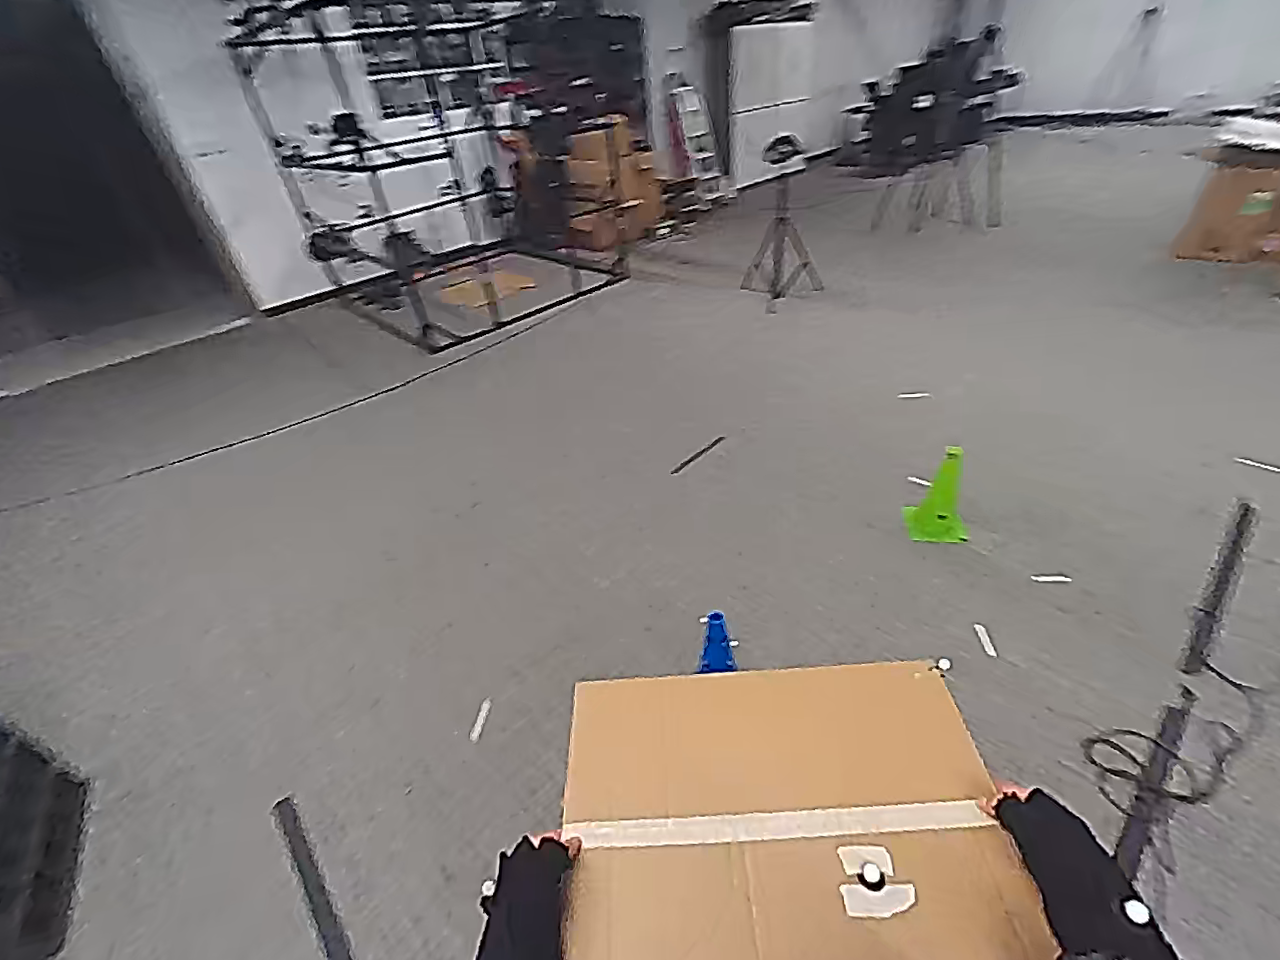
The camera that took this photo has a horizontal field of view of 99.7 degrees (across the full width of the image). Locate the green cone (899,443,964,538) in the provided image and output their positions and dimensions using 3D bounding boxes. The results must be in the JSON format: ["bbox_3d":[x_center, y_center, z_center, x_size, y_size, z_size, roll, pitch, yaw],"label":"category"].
[{"bbox_3d":[1.114,0.022,2.017,0.202,0.368,0.200,-1,36,12],"label":"green cone"}]

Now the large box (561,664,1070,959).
[{"bbox_3d":[0.144,0.433,0.593,0.408,0.320,0.320,-4,40,4],"label":"large box"}]
